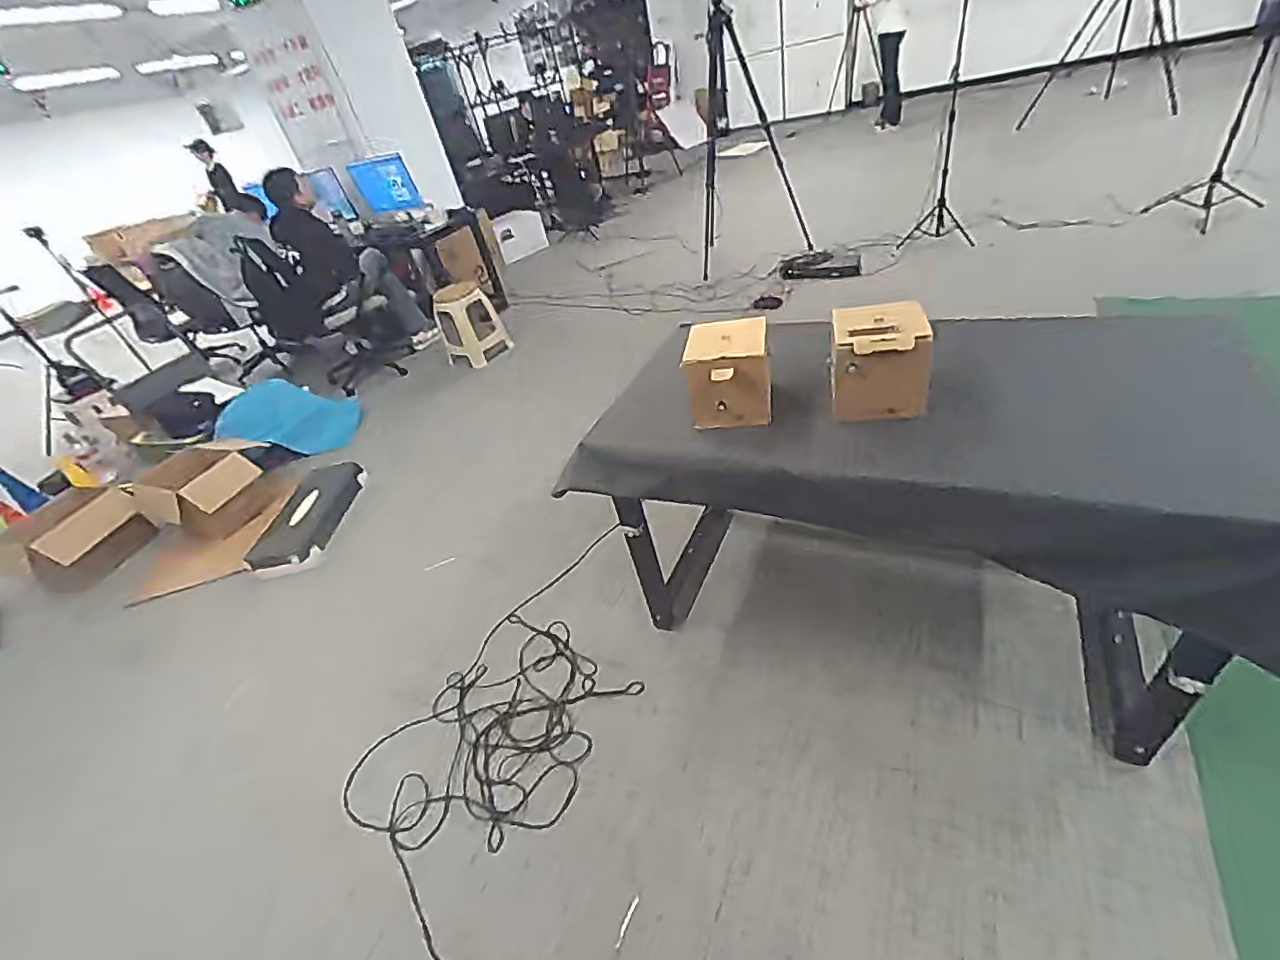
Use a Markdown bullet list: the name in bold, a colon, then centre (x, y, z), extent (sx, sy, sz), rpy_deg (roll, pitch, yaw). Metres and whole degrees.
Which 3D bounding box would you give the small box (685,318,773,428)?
- **small box**: centre (0.198, -0.231, 1.175), extent (0.168, 0.176, 0.179), rpy_deg (-2, 40, 16)
